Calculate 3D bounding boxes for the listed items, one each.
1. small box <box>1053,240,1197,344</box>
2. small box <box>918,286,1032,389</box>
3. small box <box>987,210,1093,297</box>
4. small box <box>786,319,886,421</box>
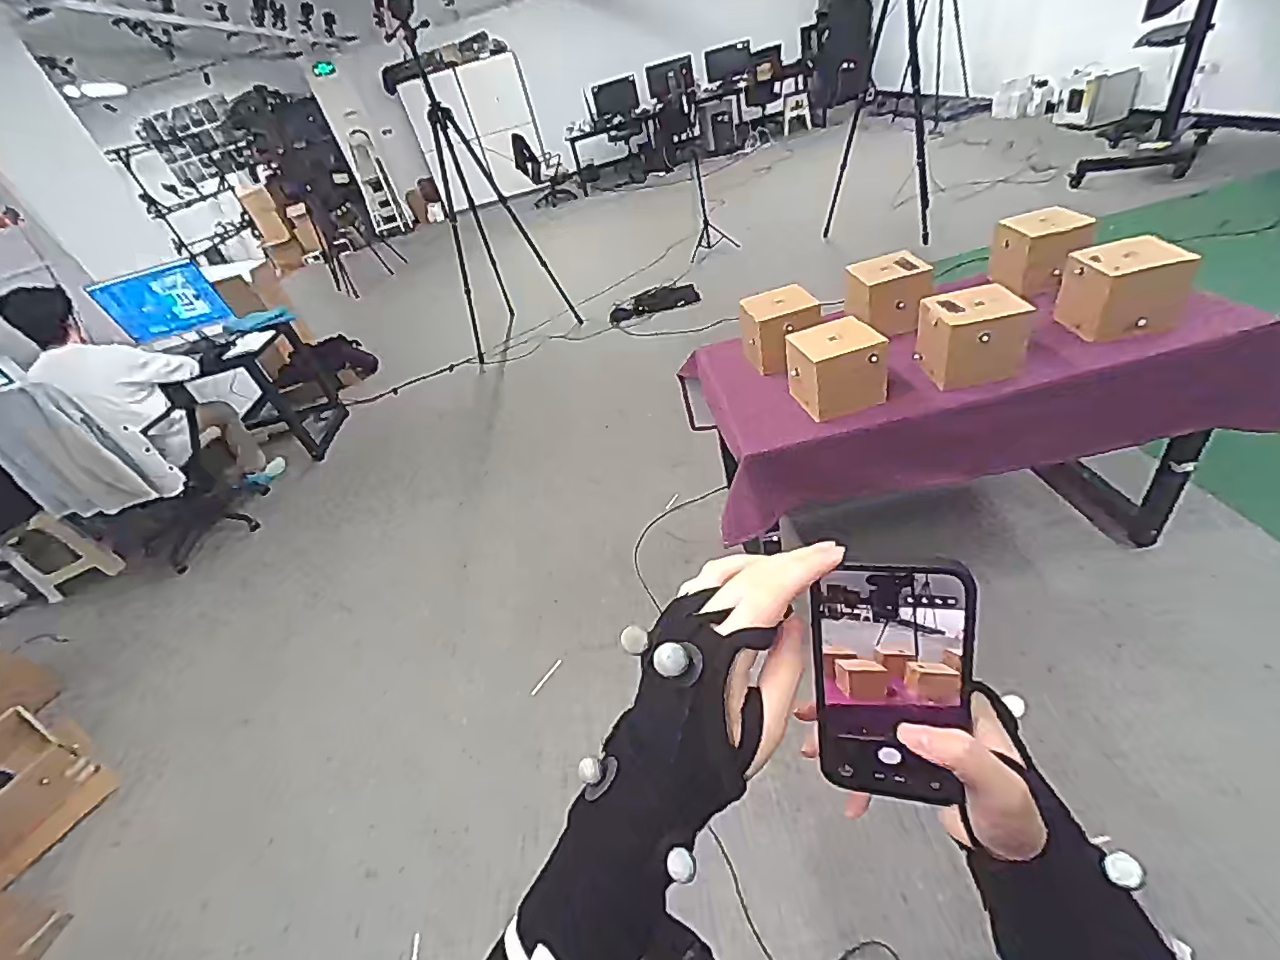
[{"bbox_3d":[1.129,-0.443,1.279,0.179,0.176,0.168,-10,38,9],"label":"small box"},{"bbox_3d":[0.775,-0.332,1.276,0.179,0.176,0.168,-10,38,8],"label":"small box"},{"bbox_3d":[1.113,-0.637,1.525,0.168,0.176,0.179,-12,39,7],"label":"small box"},{"bbox_3d":[0.471,-0.263,1.308,0.179,0.176,0.168,-17,37,-2],"label":"small box"}]
